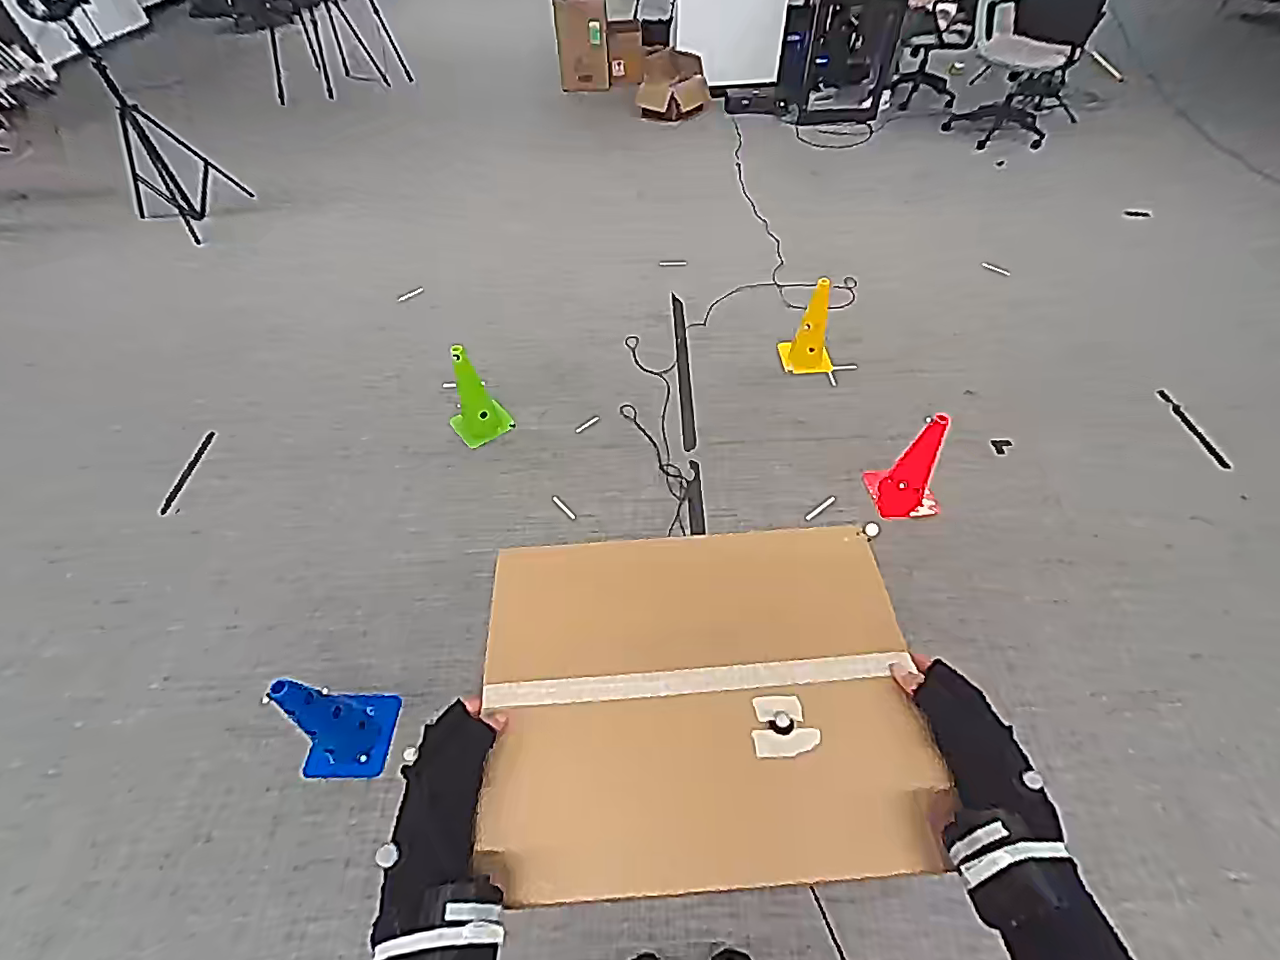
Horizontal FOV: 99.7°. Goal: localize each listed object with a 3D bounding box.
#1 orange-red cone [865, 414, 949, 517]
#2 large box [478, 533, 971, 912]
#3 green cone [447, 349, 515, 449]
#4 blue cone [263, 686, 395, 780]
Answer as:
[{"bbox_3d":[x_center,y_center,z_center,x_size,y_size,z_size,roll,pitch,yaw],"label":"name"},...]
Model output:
[{"bbox_3d":[0.874,-0.067,1.693,0.198,0.360,0.199,-3,49,-2],"label":"orange-red cone"},{"bbox_3d":[0.060,0.286,0.632,0.408,0.320,0.320,-4,53,-1],"label":"large box"},{"bbox_3d":[-0.619,-0.323,1.958,0.202,0.368,0.200,-34,56,-21],"label":"green cone"},{"bbox_3d":[-0.746,0.562,1.264,0.192,0.380,0.193,0,51,3],"label":"blue cone"}]
